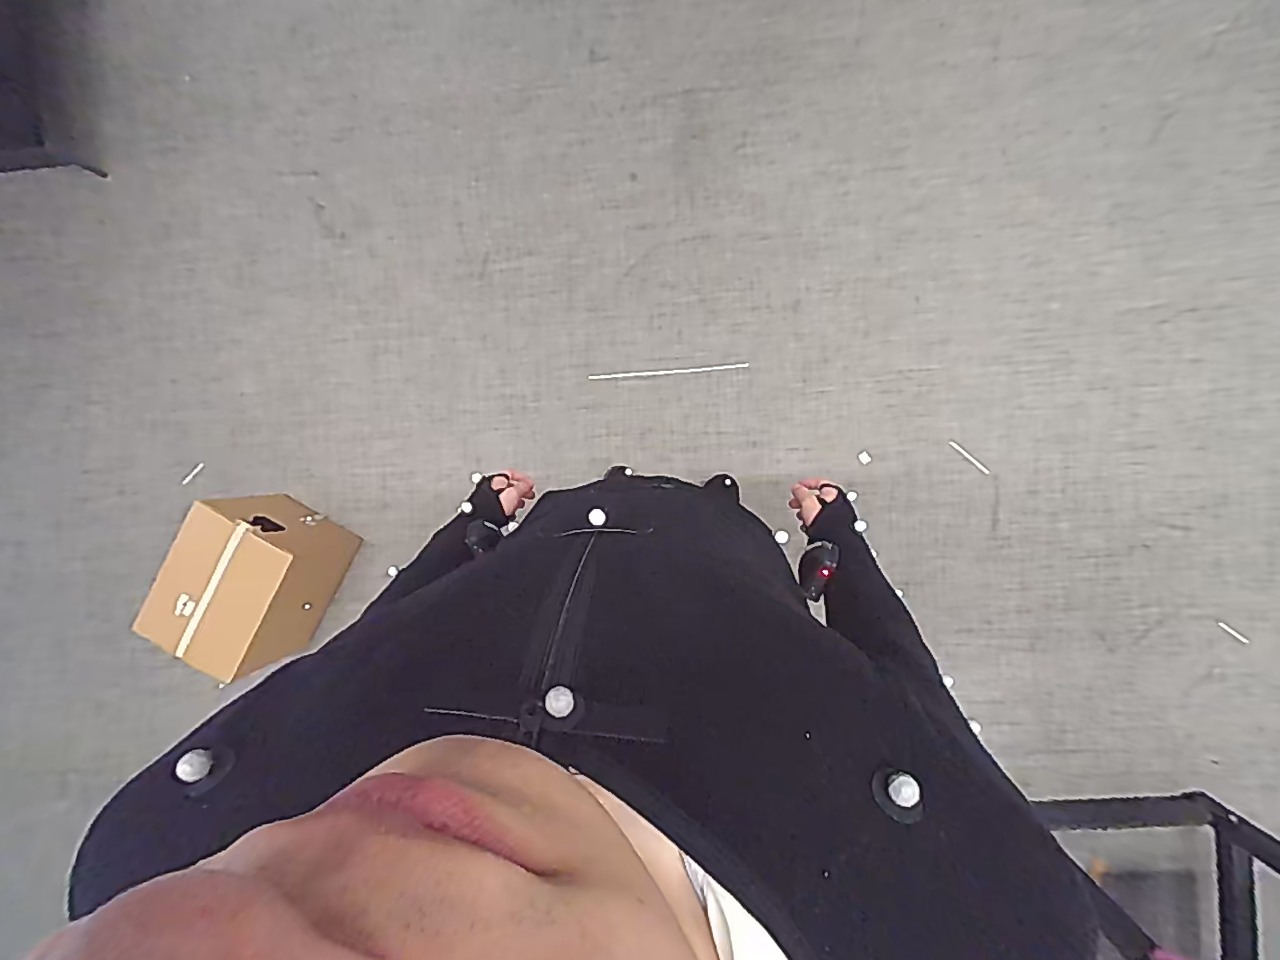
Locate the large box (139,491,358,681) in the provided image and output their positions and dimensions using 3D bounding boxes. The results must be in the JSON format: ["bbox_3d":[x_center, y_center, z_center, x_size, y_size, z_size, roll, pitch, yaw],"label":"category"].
[{"bbox_3d":[-1.114,0.283,1.577,0.320,0.320,0.408,29,95,3],"label":"large box"}]
